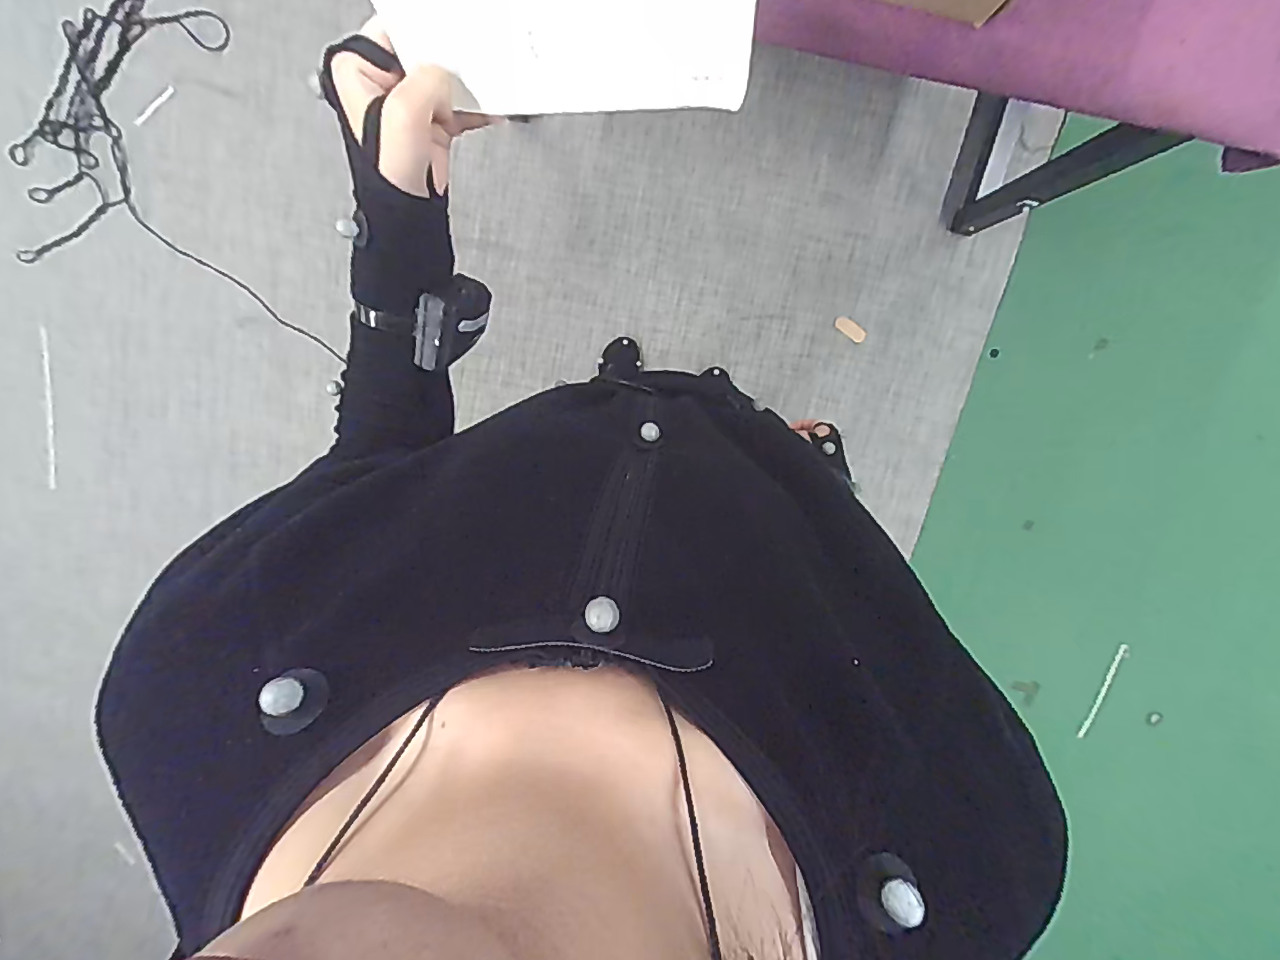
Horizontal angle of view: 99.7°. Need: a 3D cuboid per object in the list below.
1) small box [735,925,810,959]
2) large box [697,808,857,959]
[{"bbox_3d":[0.340,1.271,1.360,0.179,0.176,0.168,2,100,3],"label":"small box"},{"bbox_3d":[0.382,1.220,1.598,0.408,0.320,0.320,-1,103,3],"label":"large box"}]
